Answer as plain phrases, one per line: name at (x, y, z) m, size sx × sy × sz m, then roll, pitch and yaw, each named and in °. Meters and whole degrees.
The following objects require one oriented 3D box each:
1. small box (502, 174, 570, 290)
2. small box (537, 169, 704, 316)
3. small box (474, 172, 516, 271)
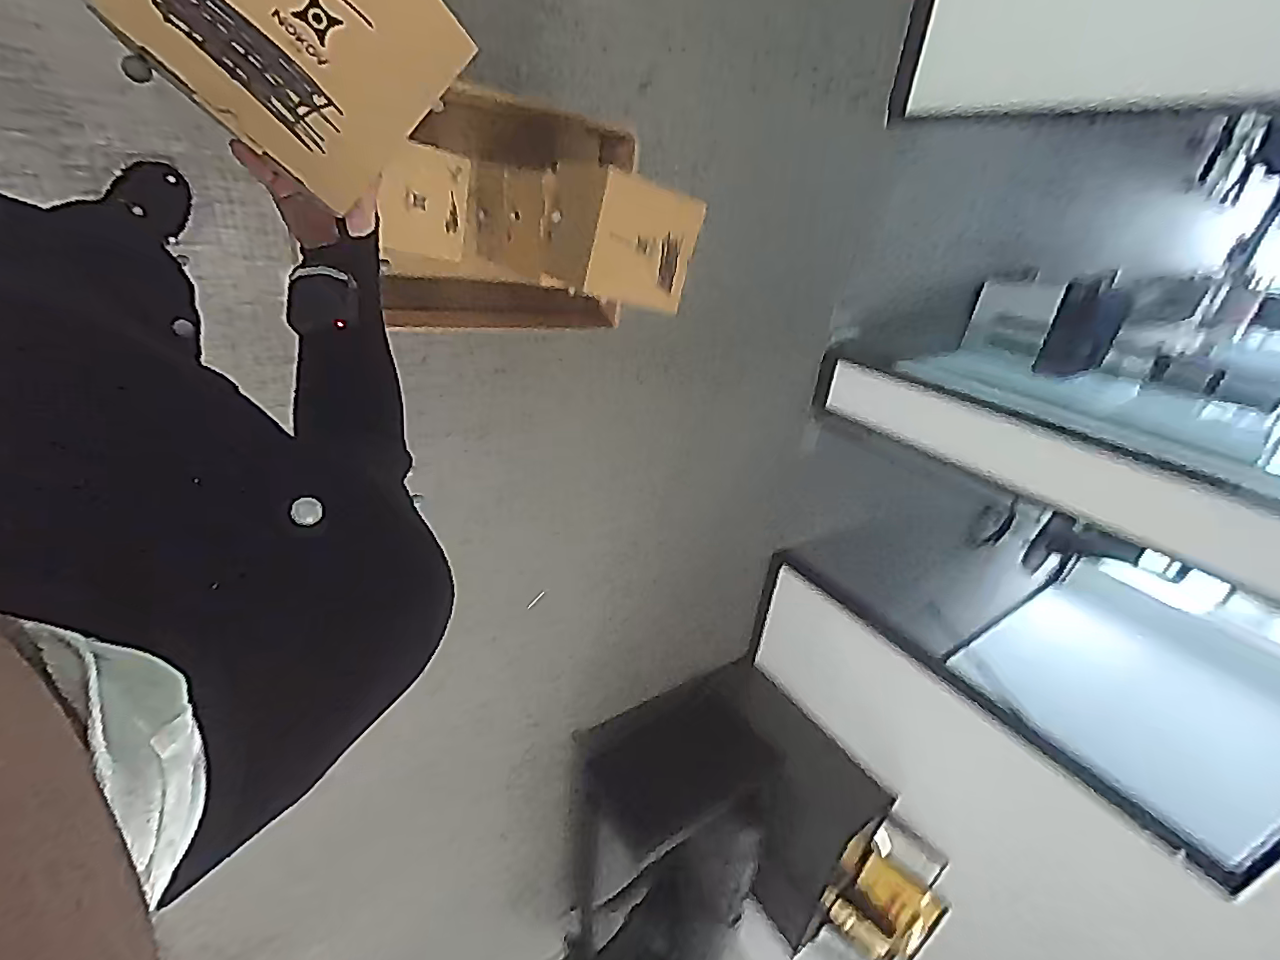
small box at (-0.130, -0.438, 0.958) m, size 0.179 × 0.176 × 0.168 m, roll -10°, pitch 122°, yaw -32°
small box at (-0.036, -0.370, 0.841) m, size 0.179 × 0.176 × 0.168 m, roll 1°, pitch 116°, yaw -36°
small box at (-0.216, -0.508, 1.076) m, size 0.179 × 0.176 × 0.168 m, roll -10°, pitch 121°, yaw -32°
